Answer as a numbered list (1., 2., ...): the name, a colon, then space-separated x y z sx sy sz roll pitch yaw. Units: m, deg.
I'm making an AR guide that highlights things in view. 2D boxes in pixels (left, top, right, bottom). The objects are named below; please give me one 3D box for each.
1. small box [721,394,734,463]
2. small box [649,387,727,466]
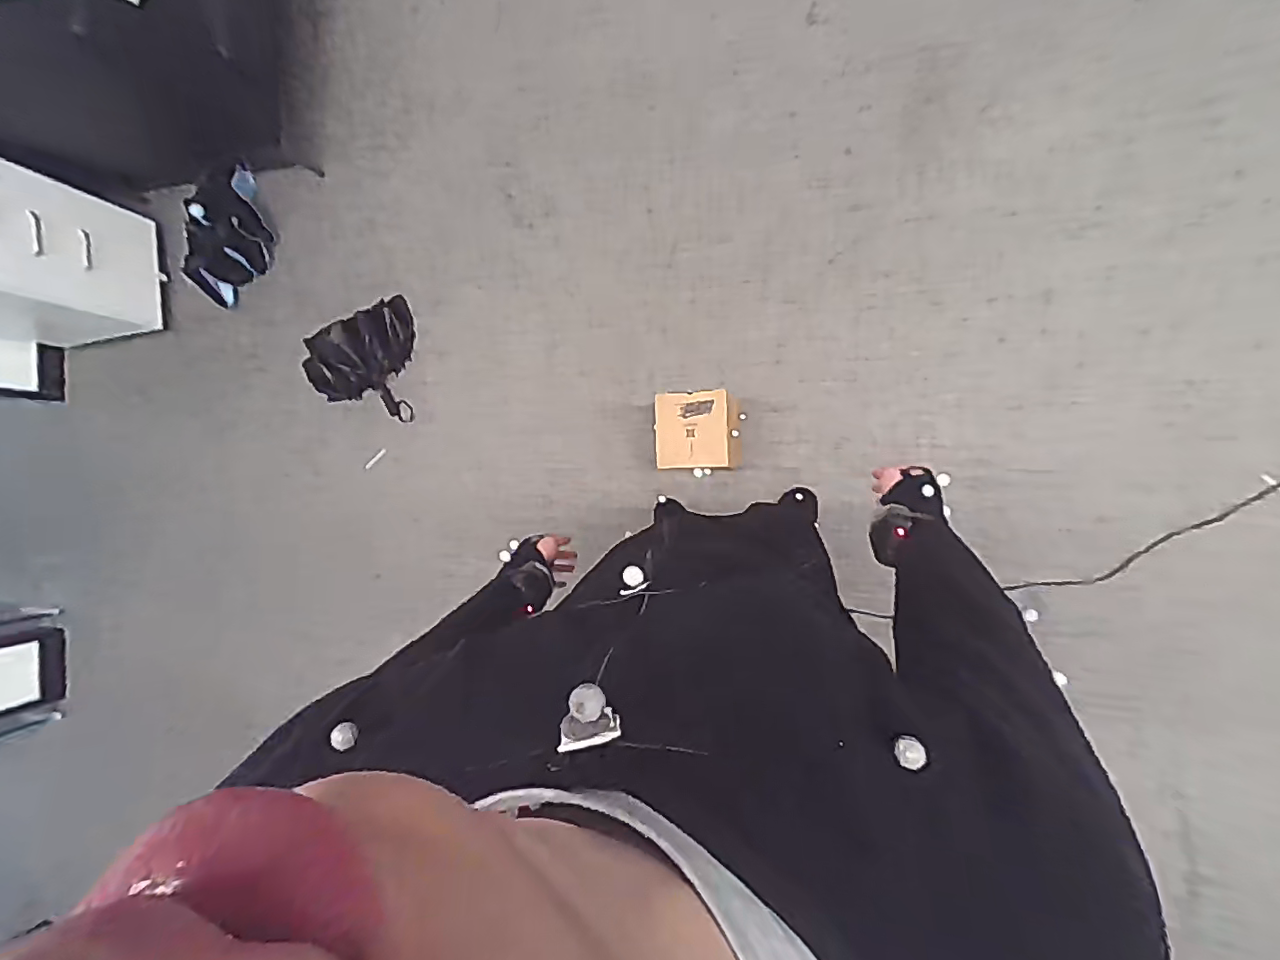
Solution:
1. small box: 0.164 -0.134 1.468 0.168 0.176 0.179 -1 92 15
2. small box: 0.118 -0.123 1.310 0.168 0.176 0.179 -1 91 15
